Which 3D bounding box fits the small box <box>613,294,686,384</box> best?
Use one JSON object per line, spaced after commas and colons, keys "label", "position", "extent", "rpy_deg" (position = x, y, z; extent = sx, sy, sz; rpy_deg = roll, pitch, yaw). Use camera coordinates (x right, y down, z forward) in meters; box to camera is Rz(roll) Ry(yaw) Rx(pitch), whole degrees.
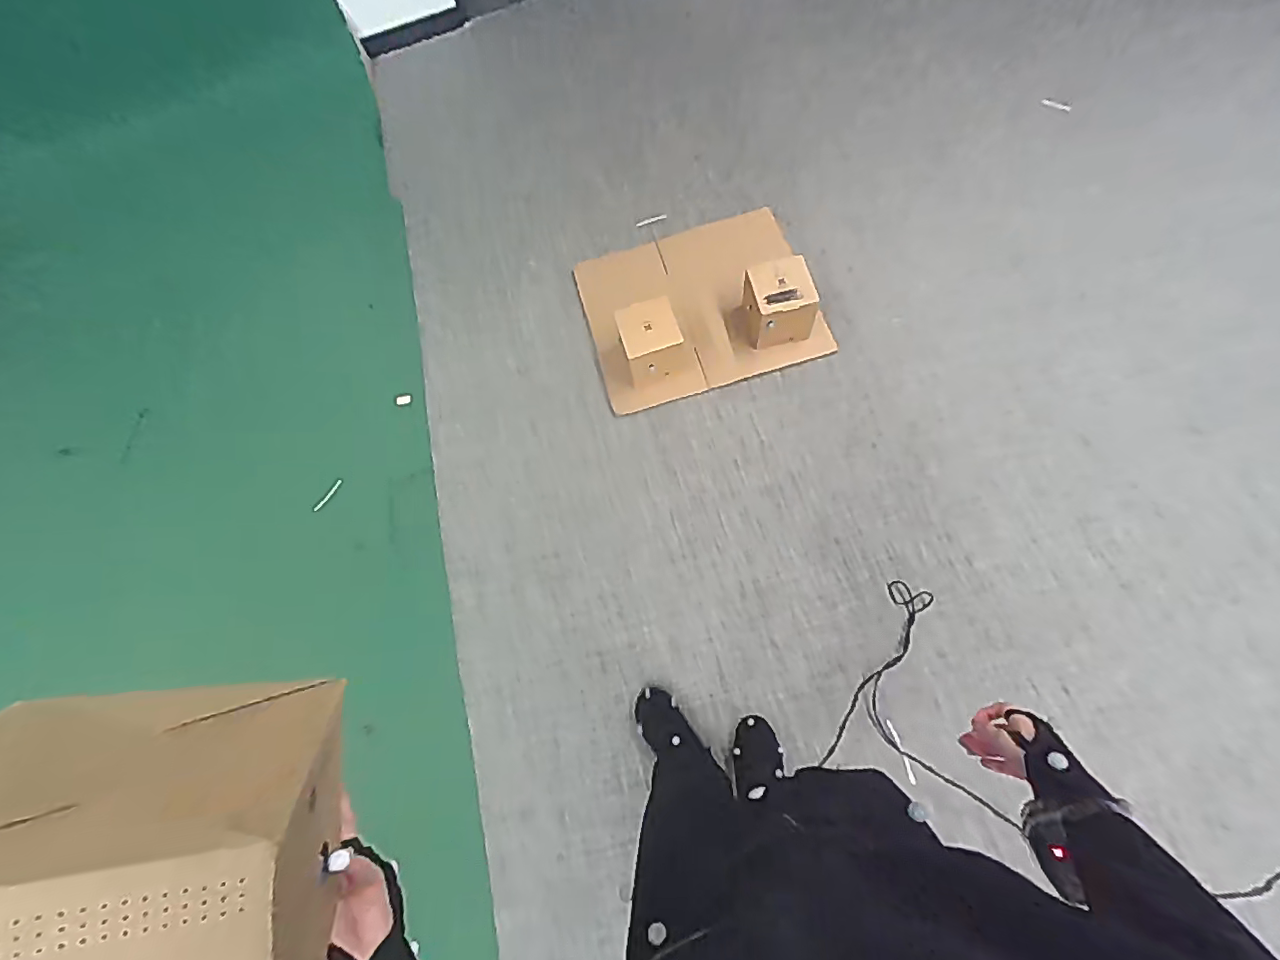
{"label": "small box", "position": [0.034, -0.405, 1.589], "extent": [0.168, 0.176, 0.179], "rpy_deg": [-18, 67, 1]}

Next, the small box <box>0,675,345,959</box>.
{"label": "small box", "position": [-0.258, 0.214, 0.275], "extent": [0.179, 0.168, 0.176], "rpy_deg": [3, 93, -21]}
